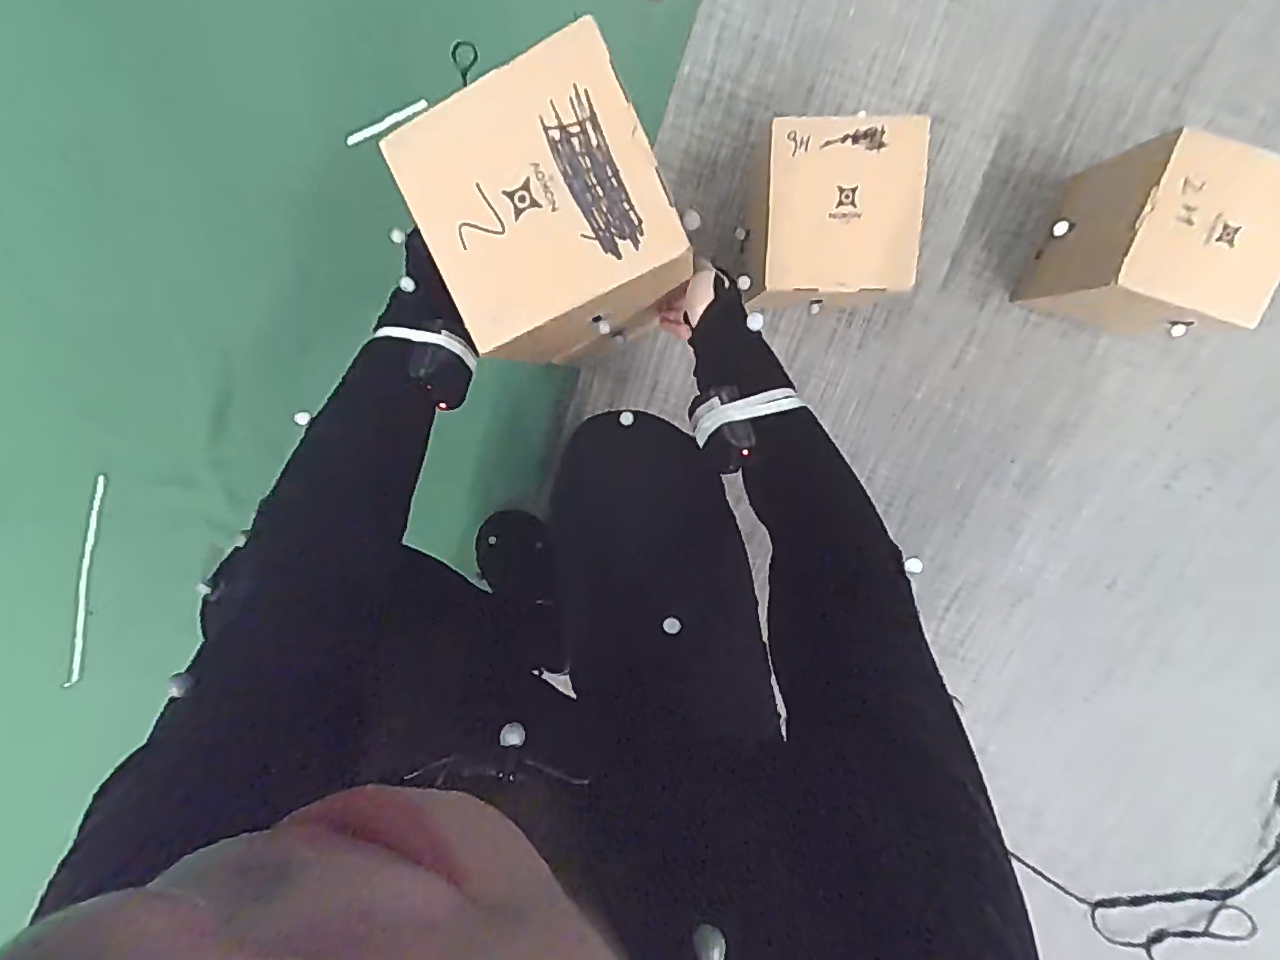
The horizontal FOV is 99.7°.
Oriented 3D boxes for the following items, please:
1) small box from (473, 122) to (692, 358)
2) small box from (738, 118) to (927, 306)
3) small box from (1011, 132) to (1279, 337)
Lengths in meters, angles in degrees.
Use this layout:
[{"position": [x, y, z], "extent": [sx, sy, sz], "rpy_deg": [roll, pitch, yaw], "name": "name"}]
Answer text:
[{"position": [-0.050, -0.249, 0.617], "extent": [0.179, 0.176, 0.168], "rpy_deg": [-26, 97, 9], "name": "small box"}, {"position": [0.216, -0.309, 0.659], "extent": [0.168, 0.176, 0.179], "rpy_deg": [2, 103, 1], "name": "small box"}, {"position": [0.613, -0.278, 0.659], "extent": [0.179, 0.176, 0.168], "rpy_deg": [17, 101, -3], "name": "small box"}]
